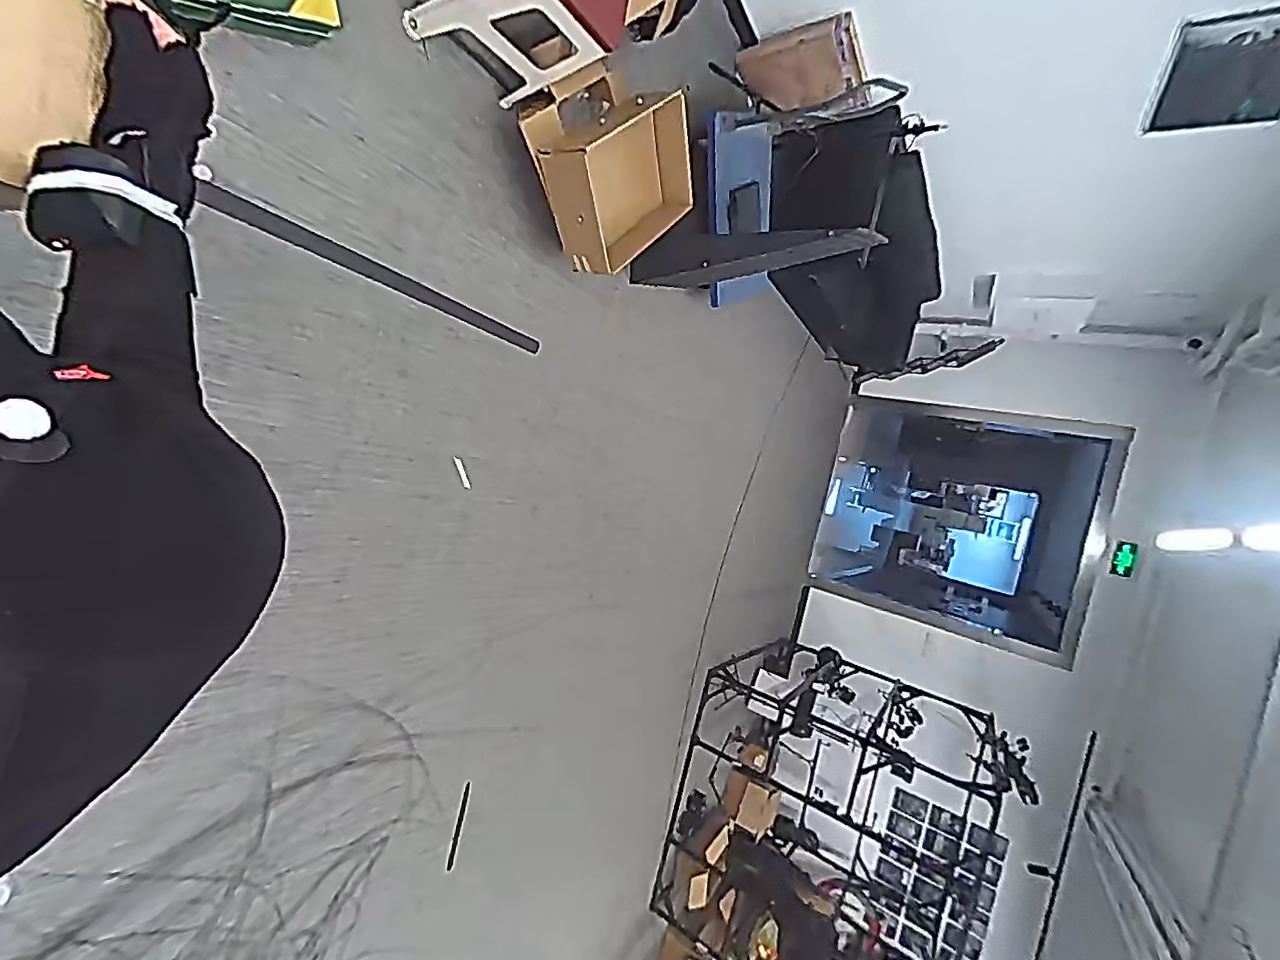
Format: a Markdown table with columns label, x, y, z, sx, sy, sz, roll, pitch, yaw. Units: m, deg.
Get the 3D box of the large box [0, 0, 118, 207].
| label | x | y | z | sx | sy | sz | roll | pitch | yaw |
| --- | --- | --- | --- | --- | --- | --- | --- | --- | --- |
| large box | -0.634 | -0.407 | 0.316 | 0.408 | 0.320 | 0.320 | 3 | 102 | -64 |
